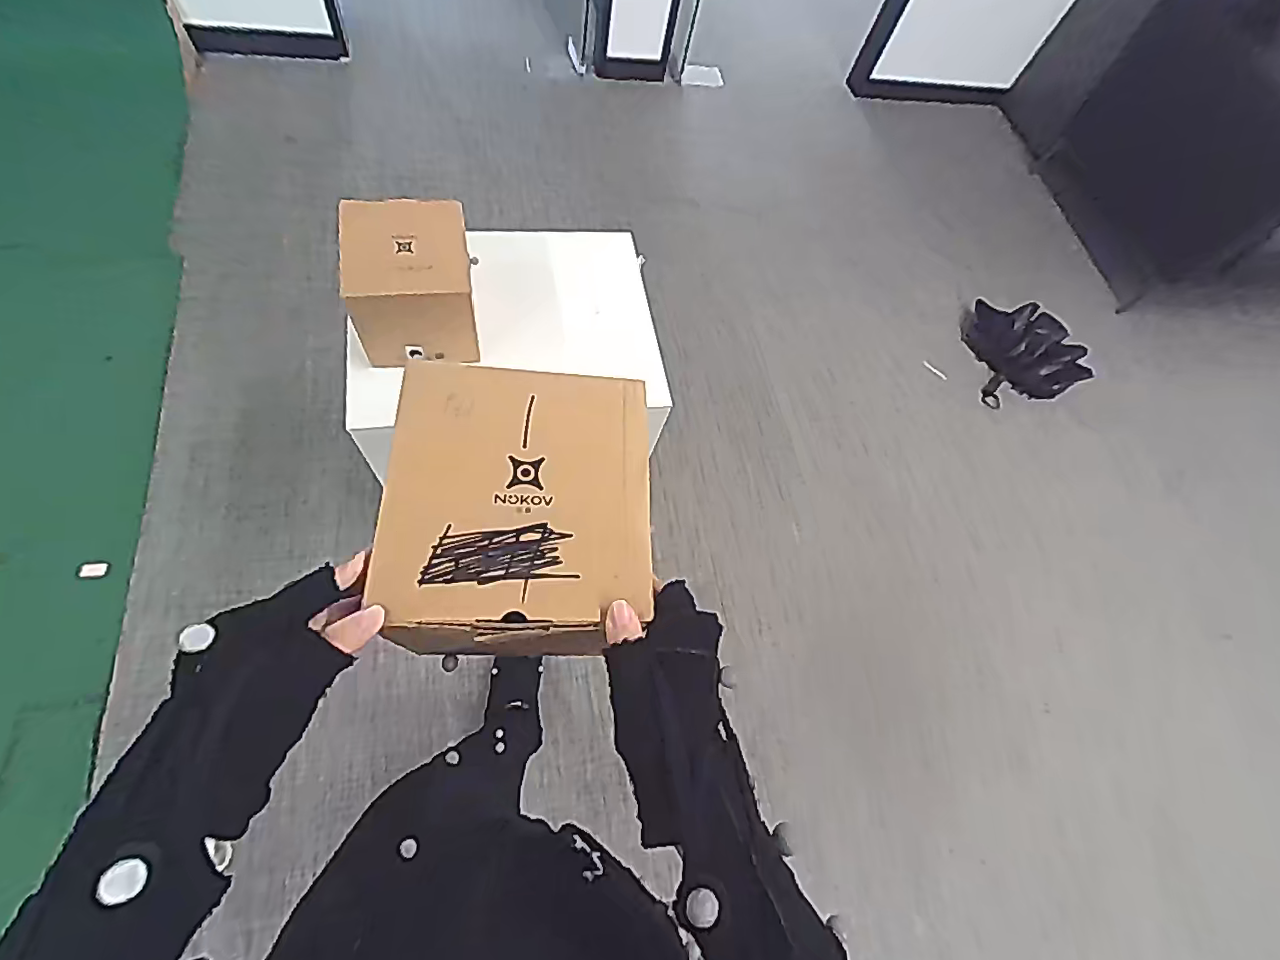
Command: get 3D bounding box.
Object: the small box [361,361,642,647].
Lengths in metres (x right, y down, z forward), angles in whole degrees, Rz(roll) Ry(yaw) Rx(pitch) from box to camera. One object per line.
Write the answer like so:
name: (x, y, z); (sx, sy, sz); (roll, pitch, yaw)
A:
small box: (-0.091, 0.033, 0.420); (0.168, 0.176, 0.179); (3, 65, -9)

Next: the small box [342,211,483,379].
small box: (-0.340, -0.279, 0.827); (0.168, 0.176, 0.179); (-9, 69, -13)
